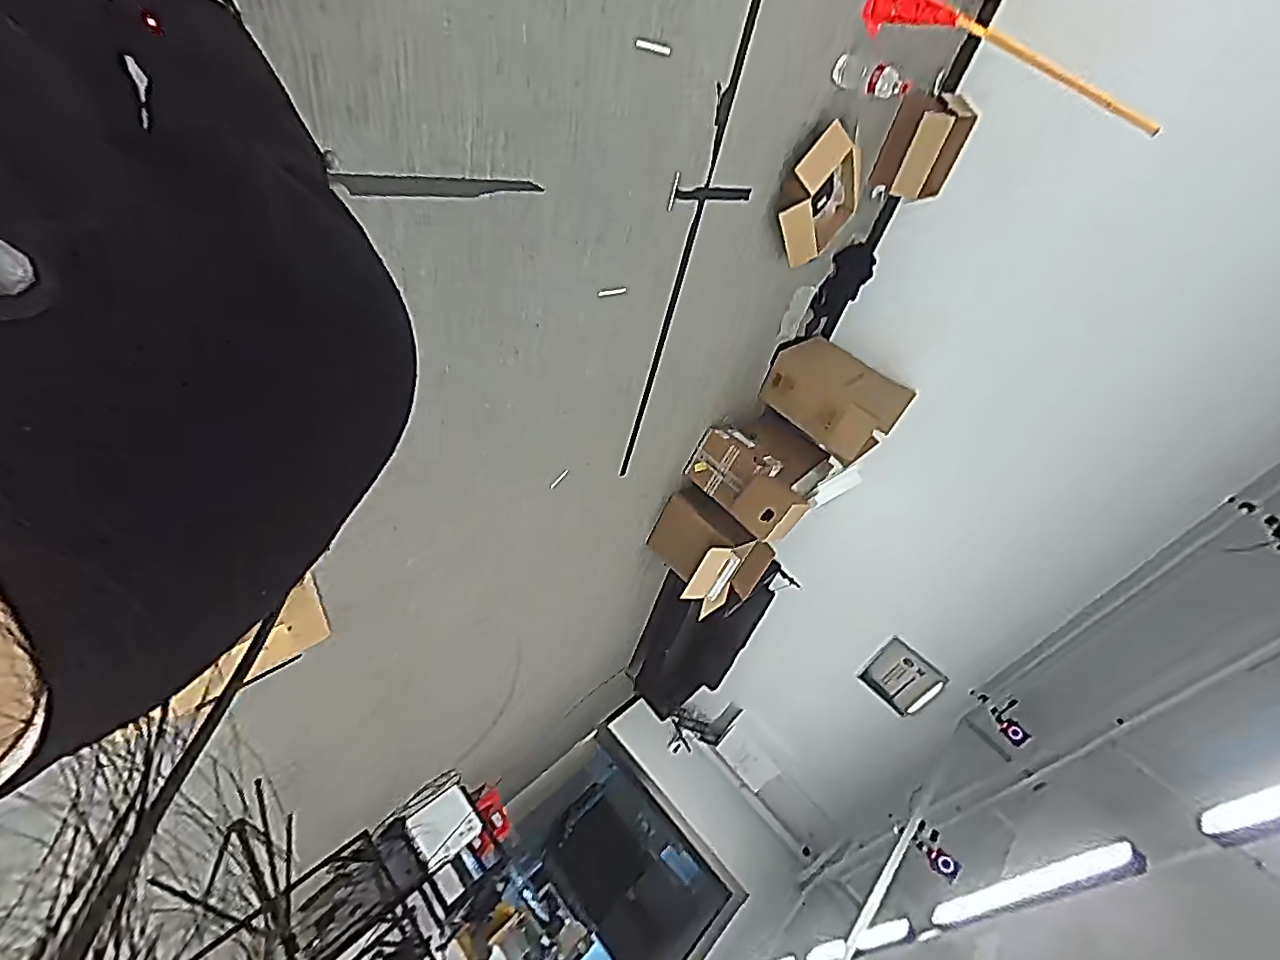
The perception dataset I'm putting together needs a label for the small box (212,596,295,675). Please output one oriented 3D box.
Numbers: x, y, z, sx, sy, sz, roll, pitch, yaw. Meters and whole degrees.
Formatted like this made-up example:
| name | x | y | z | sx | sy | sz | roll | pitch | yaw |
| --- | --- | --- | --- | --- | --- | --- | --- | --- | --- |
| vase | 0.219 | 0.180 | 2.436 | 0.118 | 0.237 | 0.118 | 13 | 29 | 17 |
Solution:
| name | x | y | z | sx | sy | sz | roll | pitch | yaw |
| --- | --- | --- | --- | --- | --- | --- | --- | --- | --- |
| small box | -1.335 | 0.528 | 1.868 | 0.168 | 0.176 | 0.179 | -28 | 148 | -36 |
